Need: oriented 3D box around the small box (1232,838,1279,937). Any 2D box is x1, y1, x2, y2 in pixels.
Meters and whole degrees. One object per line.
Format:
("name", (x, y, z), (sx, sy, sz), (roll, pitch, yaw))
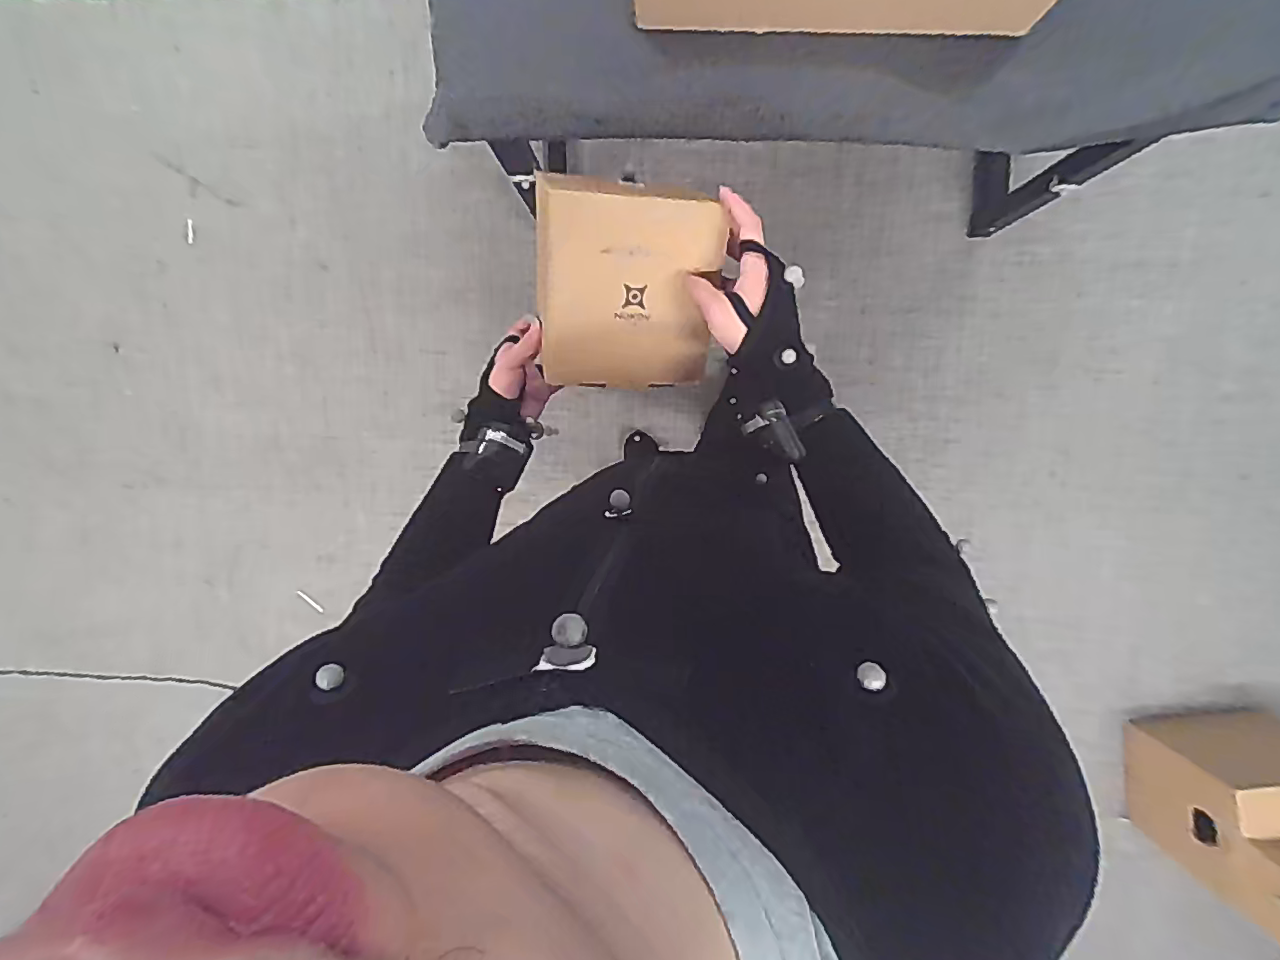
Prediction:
("small box", (1.504, 0.942, 1.215), (0.168, 0.176, 0.179), (-1, 97, 0))
